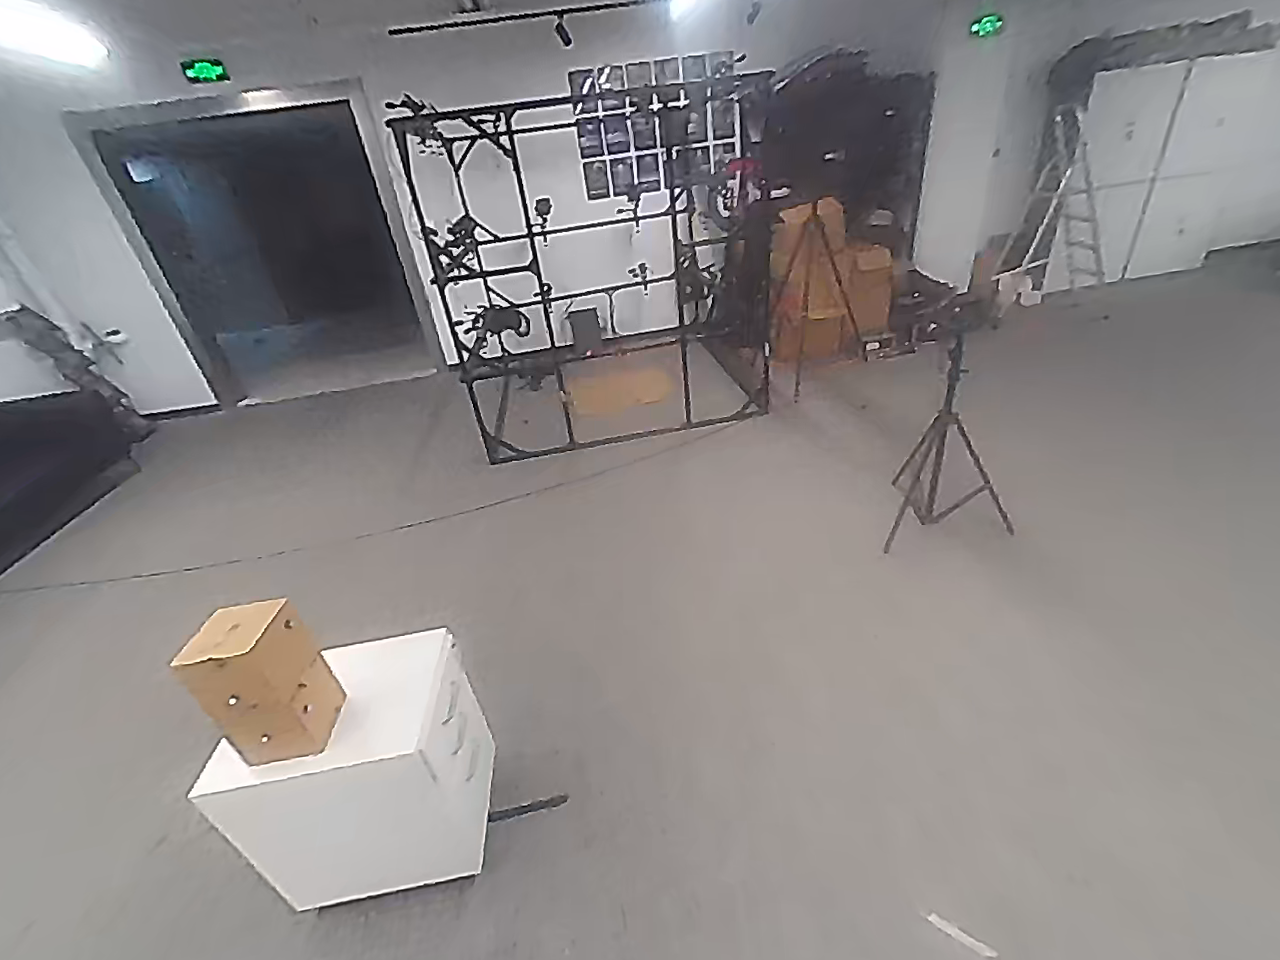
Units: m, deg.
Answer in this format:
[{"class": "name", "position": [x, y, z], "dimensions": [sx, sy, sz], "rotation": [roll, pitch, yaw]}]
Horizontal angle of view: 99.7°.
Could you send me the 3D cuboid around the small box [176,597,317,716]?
[{"class": "small box", "position": [-0.858, 0.392, 1.207], "dimensions": [0.168, 0.176, 0.179], "rotation": [-10, 30, 0]}]
